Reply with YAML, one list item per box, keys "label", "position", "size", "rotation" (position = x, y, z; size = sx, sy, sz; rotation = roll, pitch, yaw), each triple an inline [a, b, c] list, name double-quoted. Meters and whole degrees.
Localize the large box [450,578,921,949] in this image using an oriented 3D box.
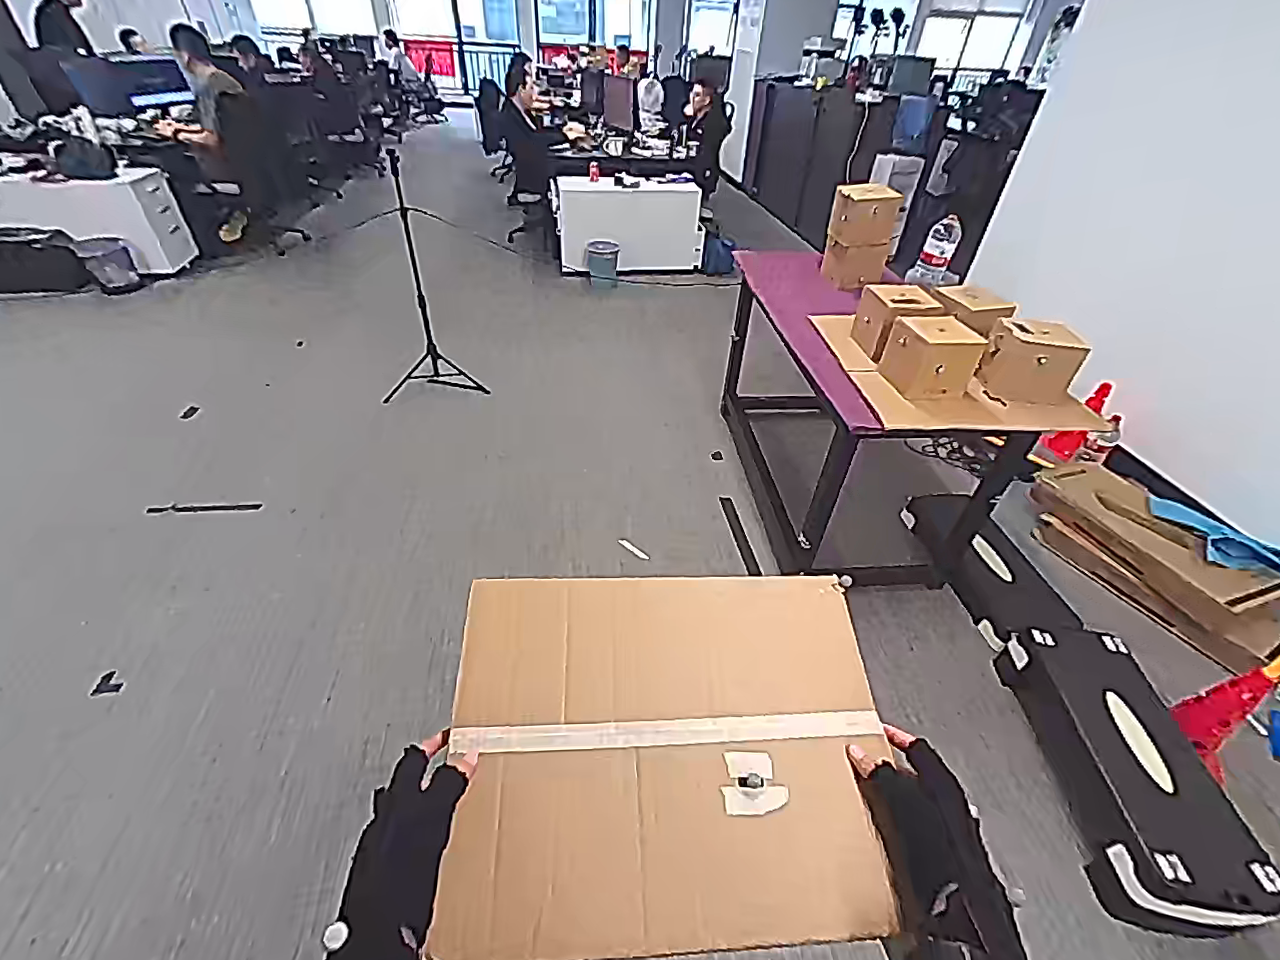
- label: "large box"
  position: [0.025, 0.324, 0.647]
  size: [0.408, 0.320, 0.320]
  rotation: [1, 56, -5]
